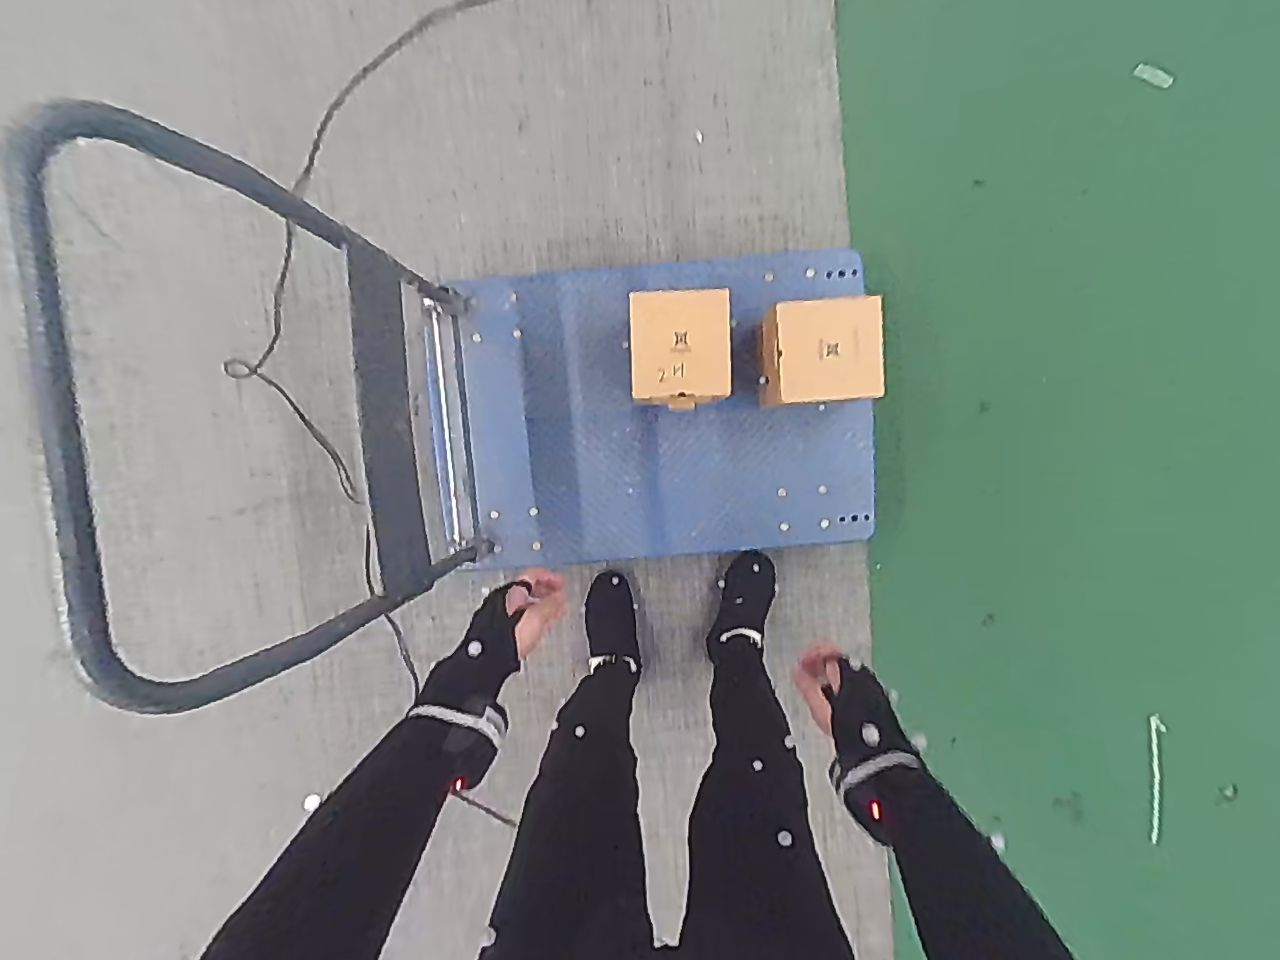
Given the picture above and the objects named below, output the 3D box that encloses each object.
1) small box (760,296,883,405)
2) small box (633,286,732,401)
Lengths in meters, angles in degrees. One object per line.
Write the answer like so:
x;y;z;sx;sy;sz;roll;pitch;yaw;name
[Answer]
0.316;-0.224;0.973;0.179;0.176;0.168;-3;95;1;small box
0.070;-0.237;0.974;0.168;0.176;0.179;-1;94;1;small box
